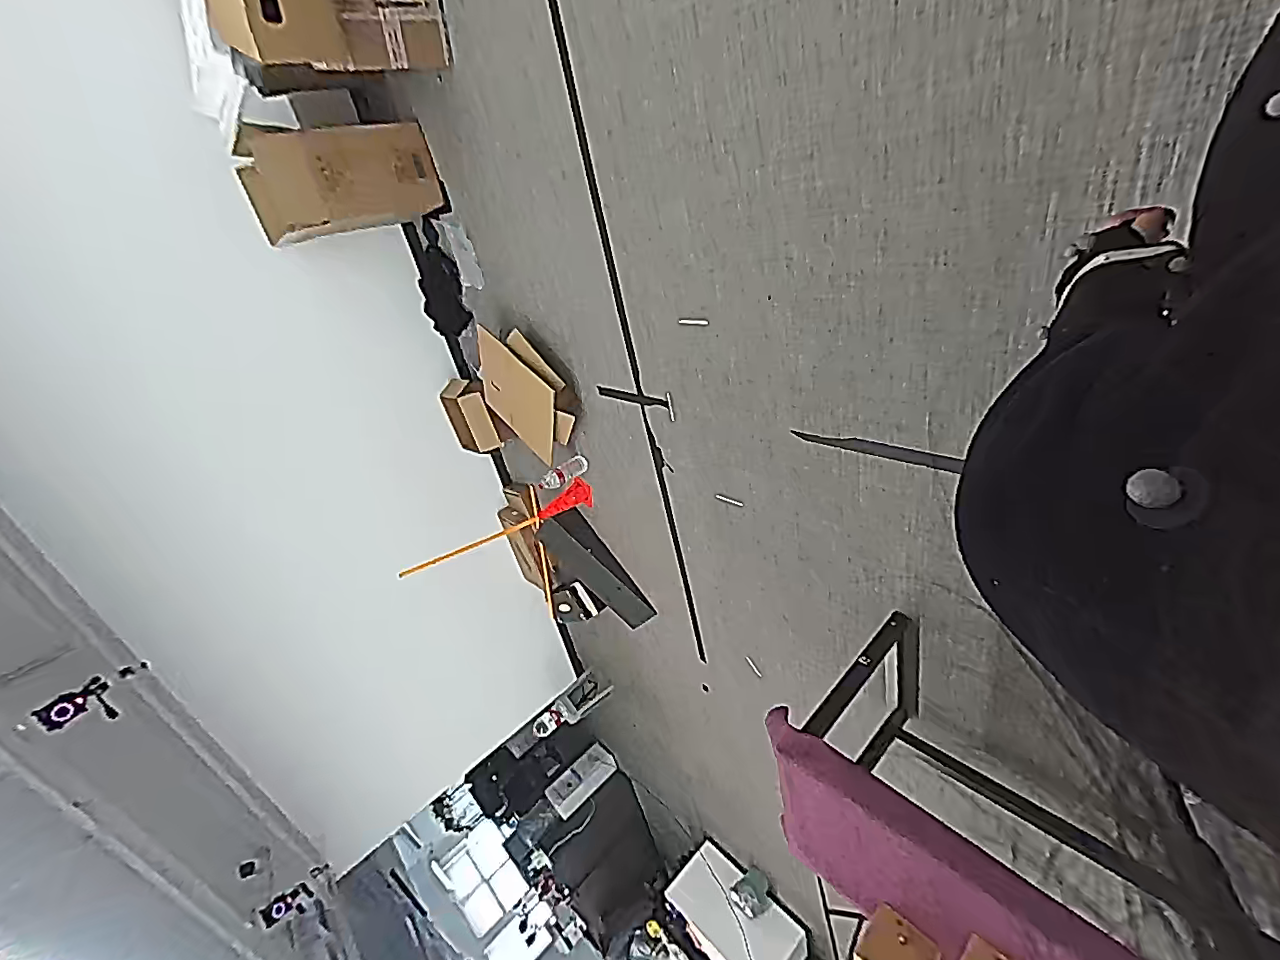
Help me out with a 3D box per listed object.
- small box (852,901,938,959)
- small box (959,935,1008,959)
[{"bbox_3d":[0.719,1.355,1.525,0.168,0.176,0.179,19,131,45],"label":"small box"},{"bbox_3d":[0.826,1.232,1.266,0.168,0.176,0.179,21,134,46],"label":"small box"}]
